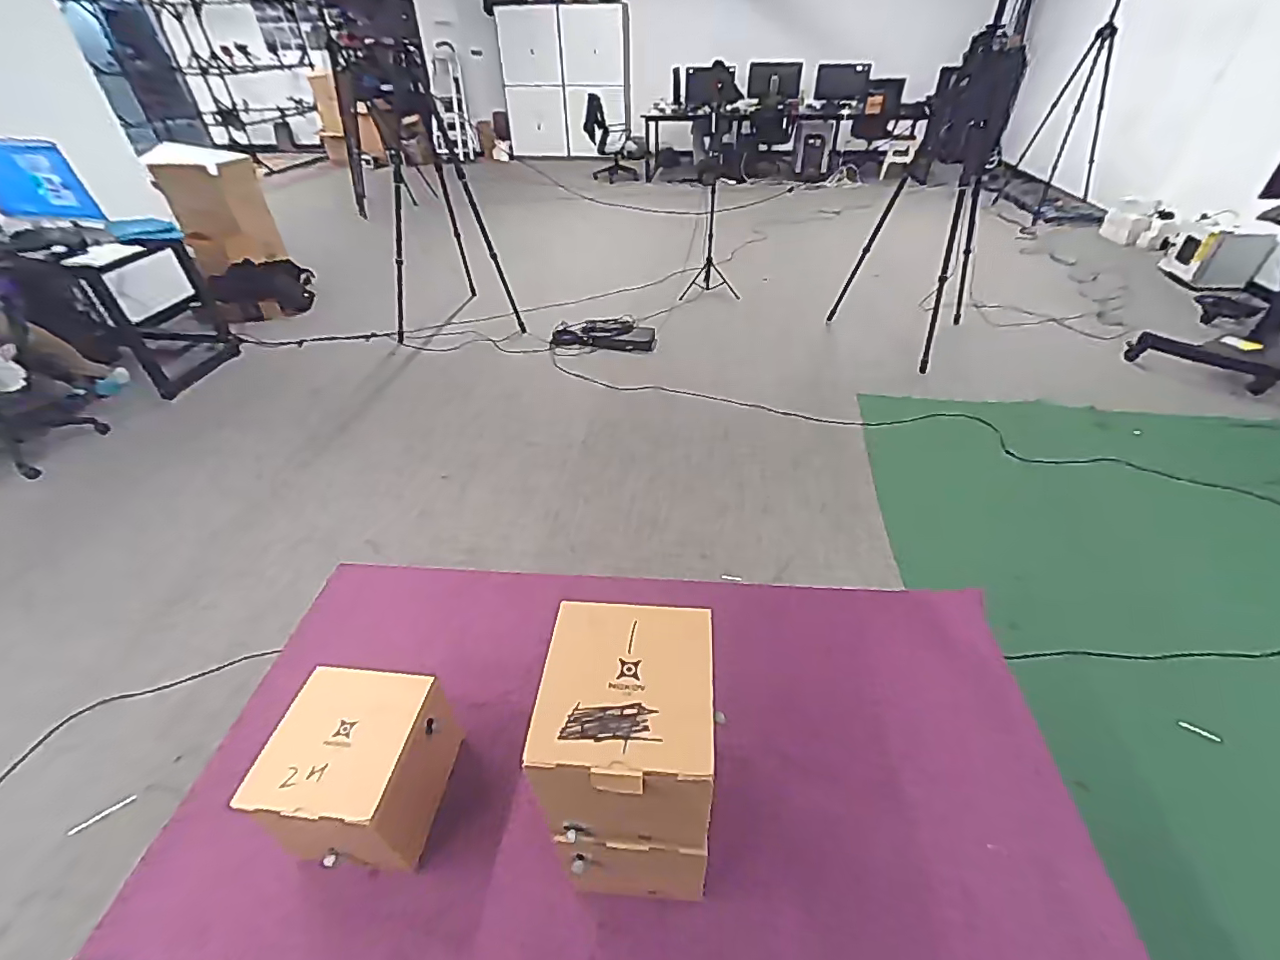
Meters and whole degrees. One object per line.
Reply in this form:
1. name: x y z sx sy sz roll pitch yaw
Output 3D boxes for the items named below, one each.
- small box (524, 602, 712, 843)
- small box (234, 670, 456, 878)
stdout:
1. small box: -0.010 0.253 0.568 0.168 0.176 0.179 2 38 4
2. small box: -0.353 0.373 0.694 0.168 0.176 0.179 2 39 6
